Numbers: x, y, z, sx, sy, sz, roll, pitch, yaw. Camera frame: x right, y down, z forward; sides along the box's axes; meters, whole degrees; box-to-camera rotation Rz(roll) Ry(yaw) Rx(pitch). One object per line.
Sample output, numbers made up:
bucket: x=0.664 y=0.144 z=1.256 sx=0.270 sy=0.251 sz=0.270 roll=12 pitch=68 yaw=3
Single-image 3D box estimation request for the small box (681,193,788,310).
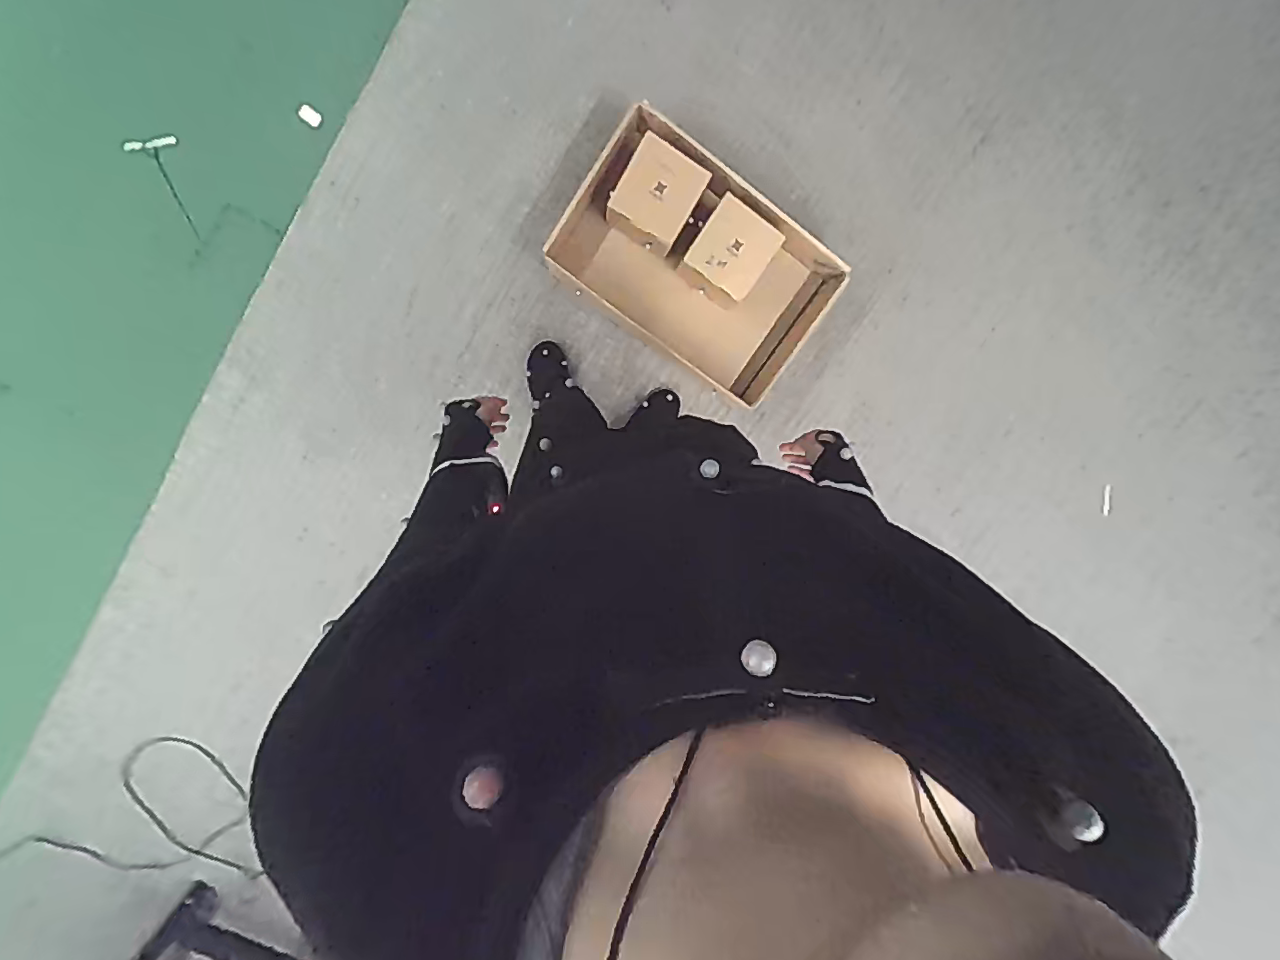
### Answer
small box: x=0.211 y=-0.526 z=1.272 sx=0.168 sy=0.176 sz=0.179 roll=35 pitch=99 yaw=-8
